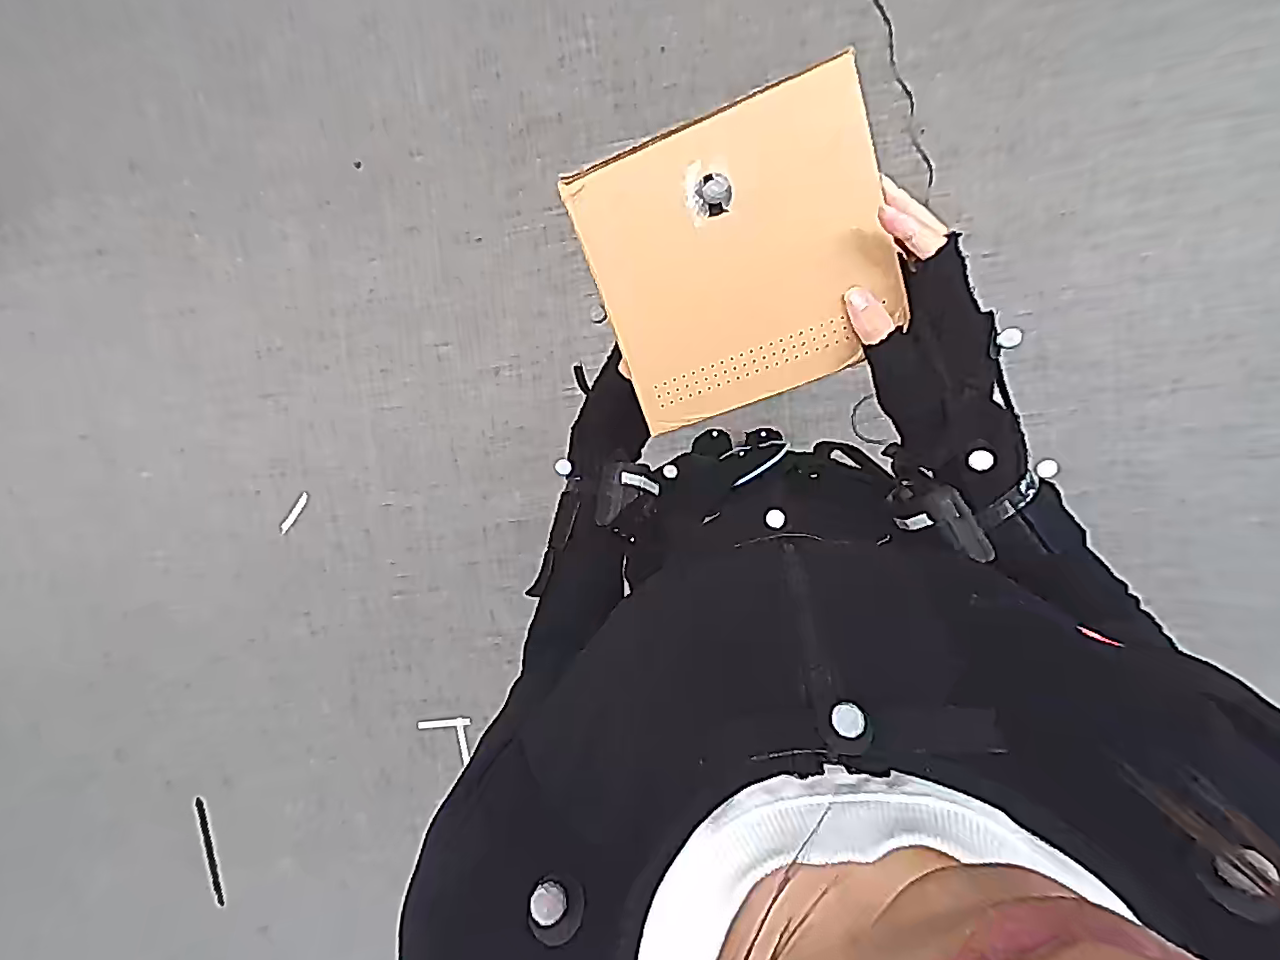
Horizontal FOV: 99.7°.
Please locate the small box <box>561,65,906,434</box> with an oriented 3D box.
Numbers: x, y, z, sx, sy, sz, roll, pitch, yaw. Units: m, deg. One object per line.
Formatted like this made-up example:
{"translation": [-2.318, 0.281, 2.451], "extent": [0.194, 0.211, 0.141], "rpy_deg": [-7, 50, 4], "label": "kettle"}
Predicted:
{"translation": [0.065, -0.148, 0.402], "extent": [0.179, 0.168, 0.176], "rpy_deg": [-19, 107, 9], "label": "small box"}
